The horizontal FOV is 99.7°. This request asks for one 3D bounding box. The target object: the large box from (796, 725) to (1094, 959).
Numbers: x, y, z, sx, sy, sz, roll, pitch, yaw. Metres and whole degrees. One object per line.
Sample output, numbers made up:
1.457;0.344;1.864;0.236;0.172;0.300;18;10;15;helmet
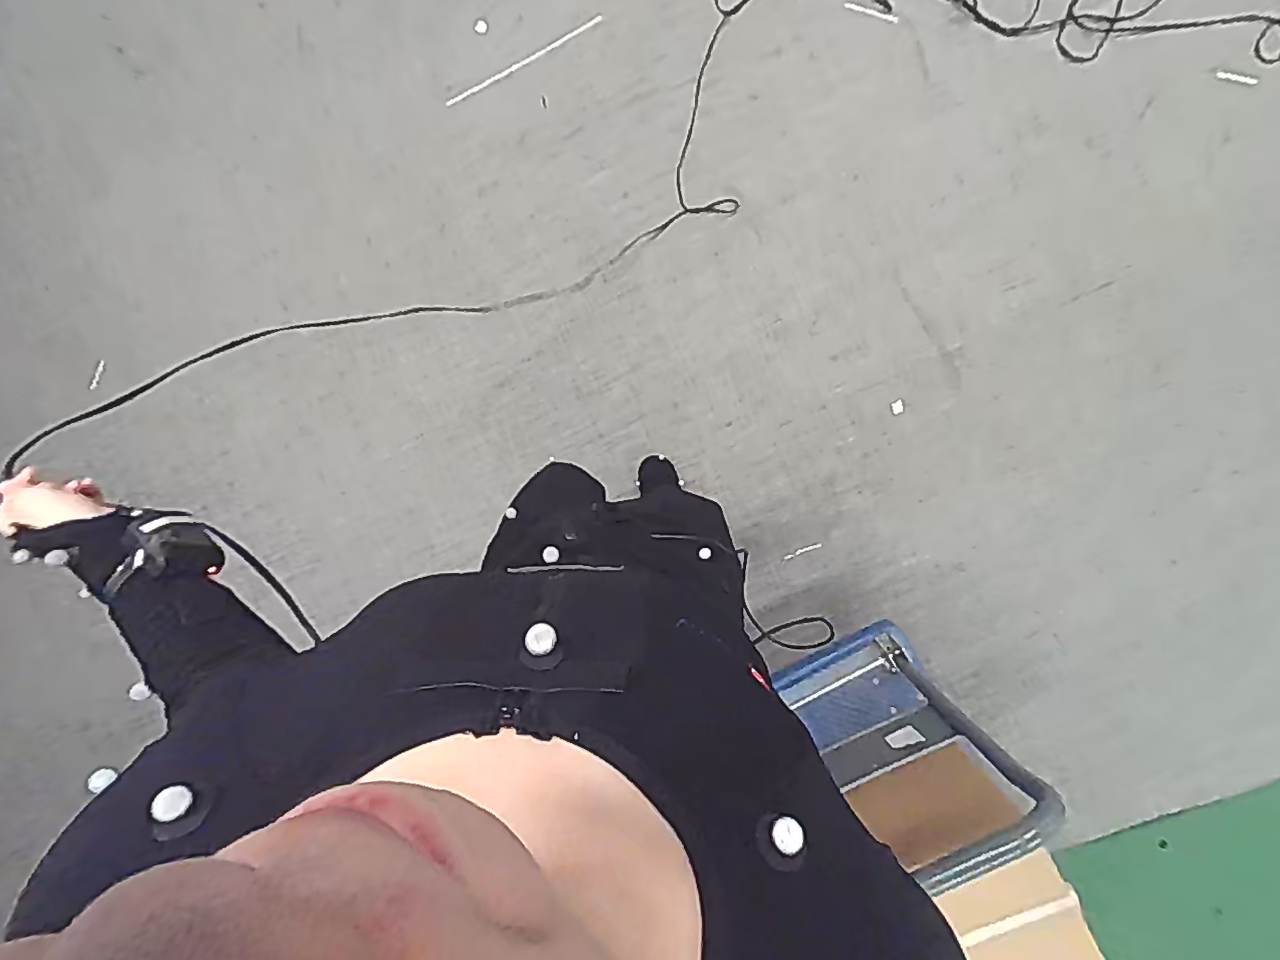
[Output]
0.607;0.808;1.159;0.408;0.320;0.320;-28;89;7;large box
